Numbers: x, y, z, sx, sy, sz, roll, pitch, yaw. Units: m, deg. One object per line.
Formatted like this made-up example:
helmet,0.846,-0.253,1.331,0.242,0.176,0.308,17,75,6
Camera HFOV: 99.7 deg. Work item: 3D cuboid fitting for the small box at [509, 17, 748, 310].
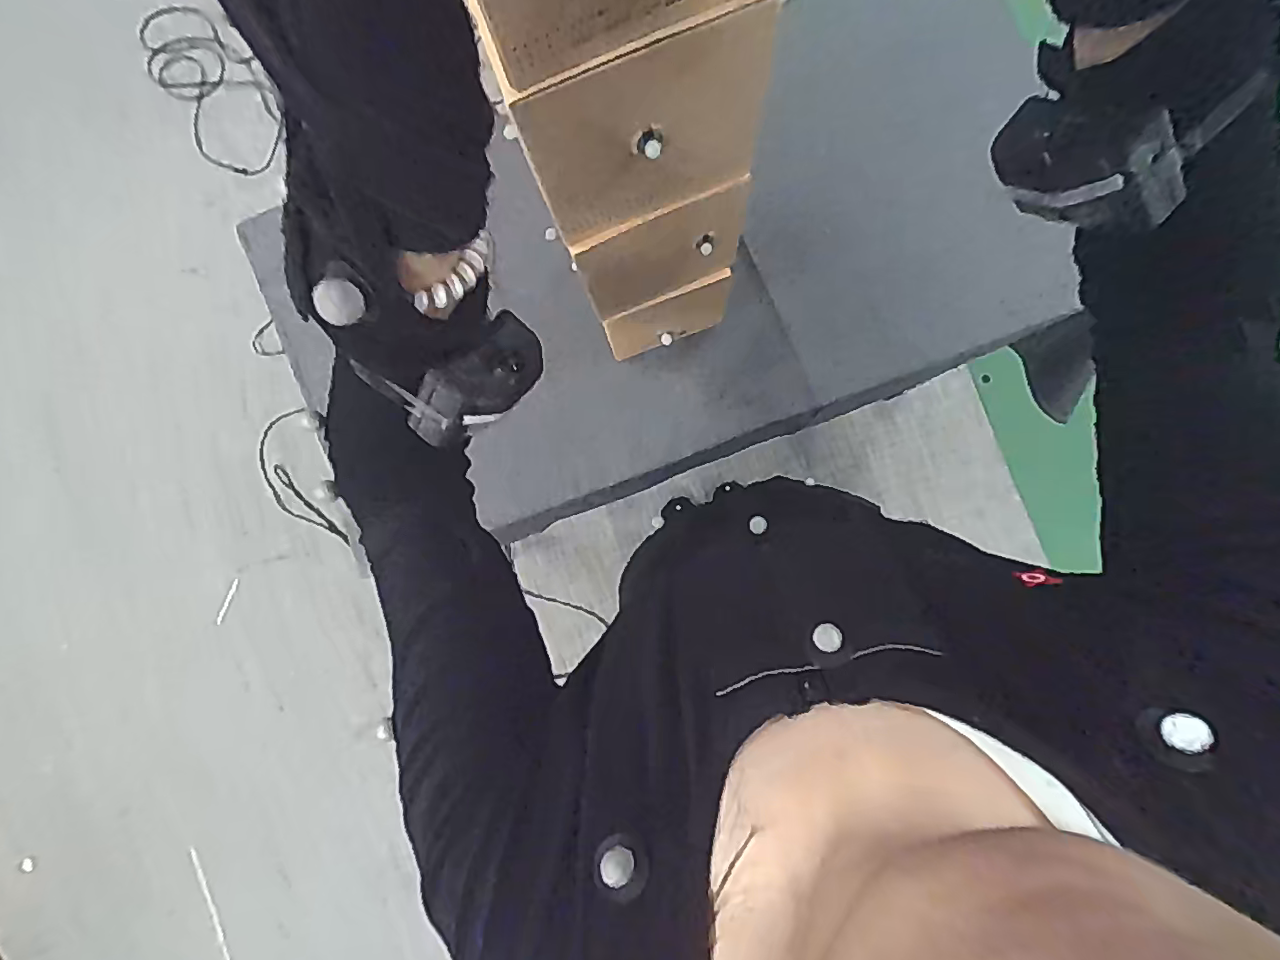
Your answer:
small box,-0.008,-0.308,0.564,0.179,0.176,0.168,-22,84,2

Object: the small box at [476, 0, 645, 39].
small box,-0.039,-0.351,0.240,0.168,0.176,0.179,-22,84,2

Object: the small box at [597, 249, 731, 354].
small box,0.008,-0.295,0.725,0.168,0.176,0.179,-20,86,2
